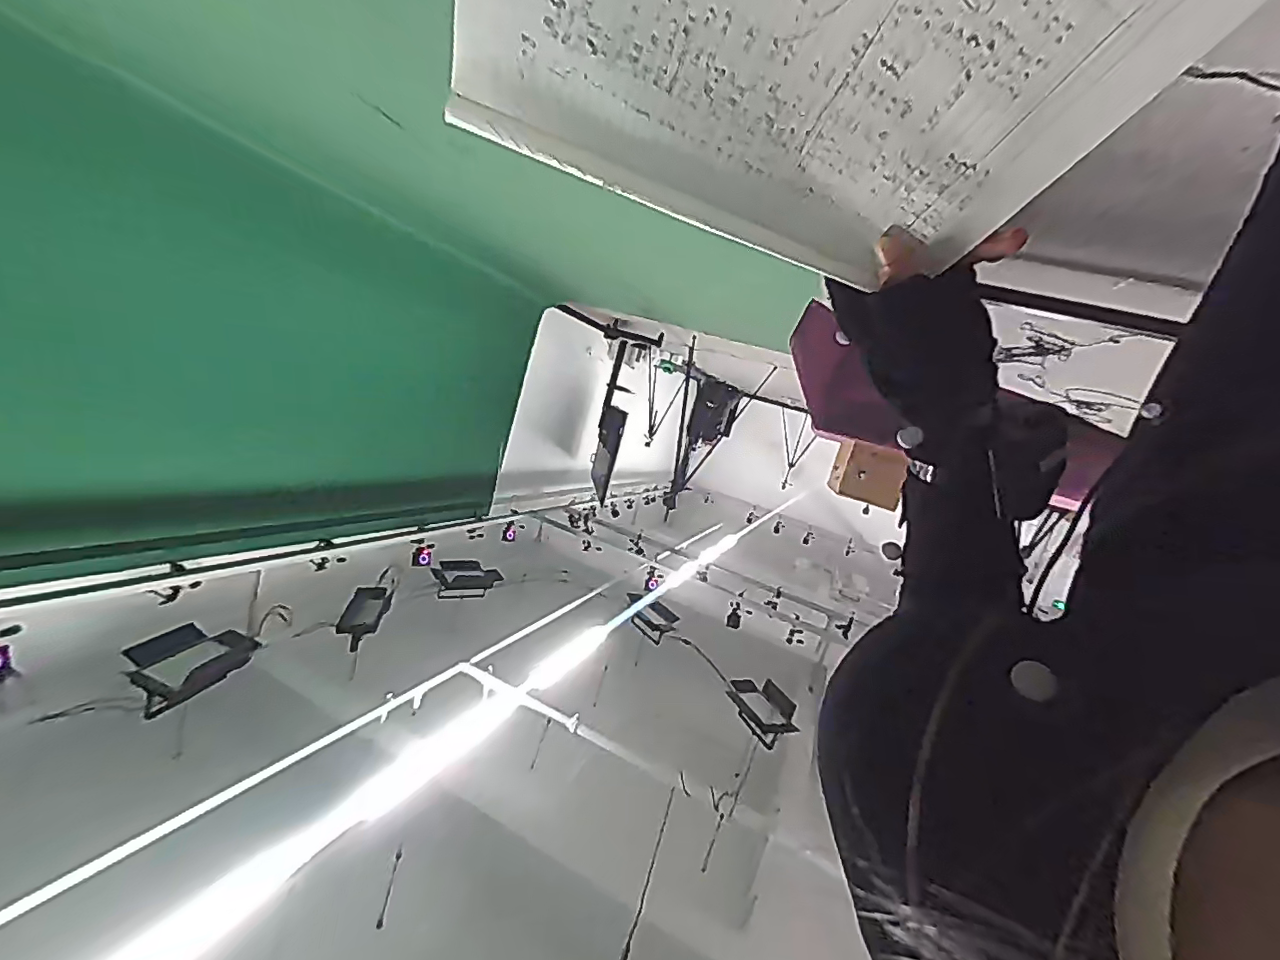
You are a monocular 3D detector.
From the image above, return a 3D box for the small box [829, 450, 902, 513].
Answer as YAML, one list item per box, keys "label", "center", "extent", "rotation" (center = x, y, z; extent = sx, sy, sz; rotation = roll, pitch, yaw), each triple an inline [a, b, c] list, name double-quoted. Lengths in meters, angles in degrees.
- label: "small box"
  center: [0.748, 0.000, 1.795]
  extent: [0.168, 0.176, 0.179]
  rotation: [19, -173, 11]
